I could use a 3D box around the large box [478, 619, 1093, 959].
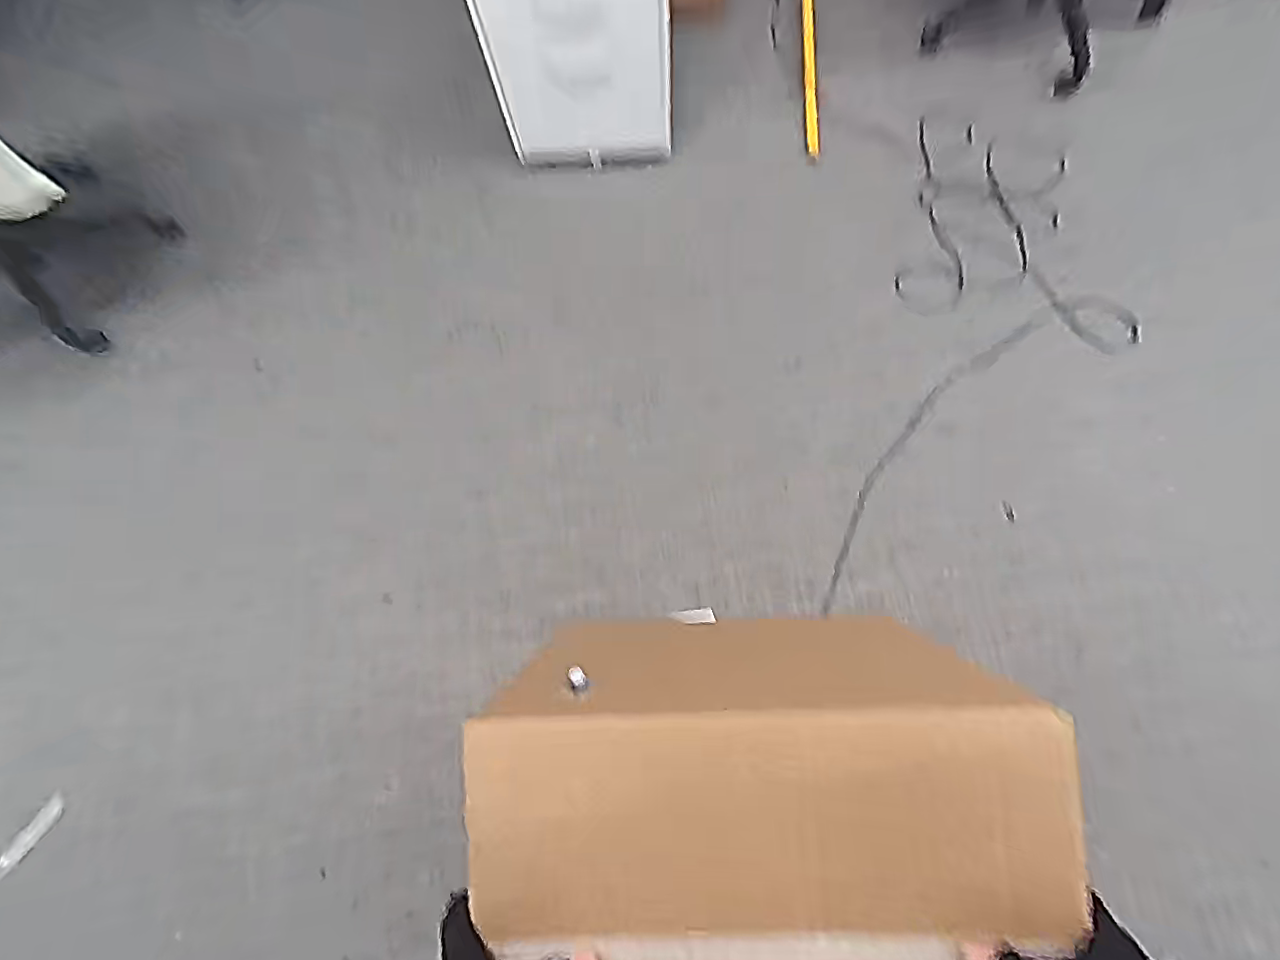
[{"bbox_3d":[0.101,0.320,0.508,0.408,0.320,0.320,-3,88,5],"label":"large box"}]
